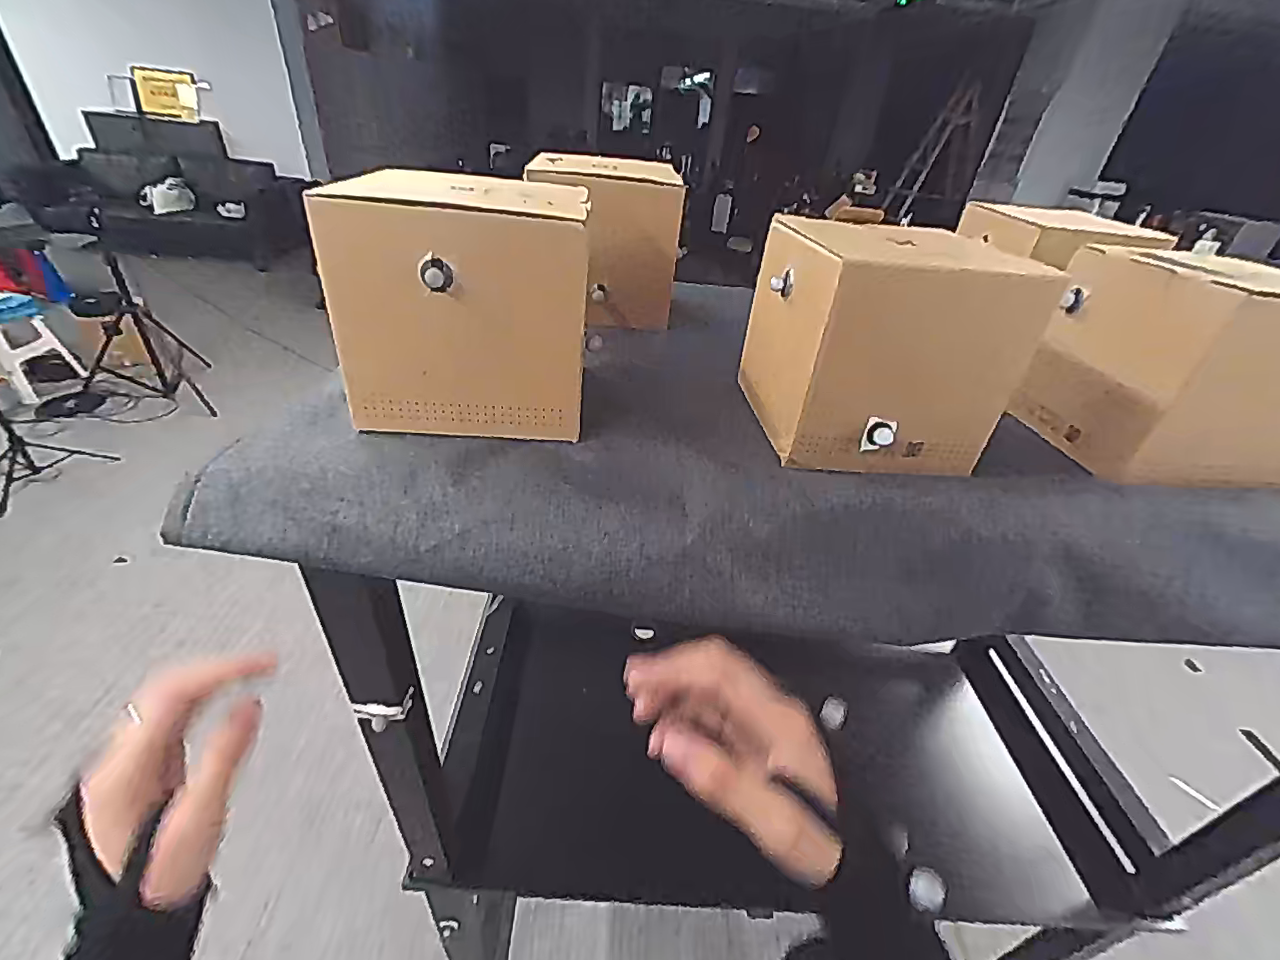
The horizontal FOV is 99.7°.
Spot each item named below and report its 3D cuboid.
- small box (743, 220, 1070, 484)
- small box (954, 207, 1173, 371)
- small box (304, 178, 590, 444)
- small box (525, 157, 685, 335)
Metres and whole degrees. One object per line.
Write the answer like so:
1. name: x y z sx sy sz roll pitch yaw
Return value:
1. small box: 0.197 -0.115 0.468 0.168 0.176 0.179 2 34 -6
2. small box: 0.527 -0.258 0.730 0.168 0.176 0.179 4 35 -3
3. small box: -0.133 -0.141 0.448 0.179 0.176 0.168 3 34 -6
4. small box: -0.048 -0.297 0.691 0.179 0.176 0.168 4 35 -5
